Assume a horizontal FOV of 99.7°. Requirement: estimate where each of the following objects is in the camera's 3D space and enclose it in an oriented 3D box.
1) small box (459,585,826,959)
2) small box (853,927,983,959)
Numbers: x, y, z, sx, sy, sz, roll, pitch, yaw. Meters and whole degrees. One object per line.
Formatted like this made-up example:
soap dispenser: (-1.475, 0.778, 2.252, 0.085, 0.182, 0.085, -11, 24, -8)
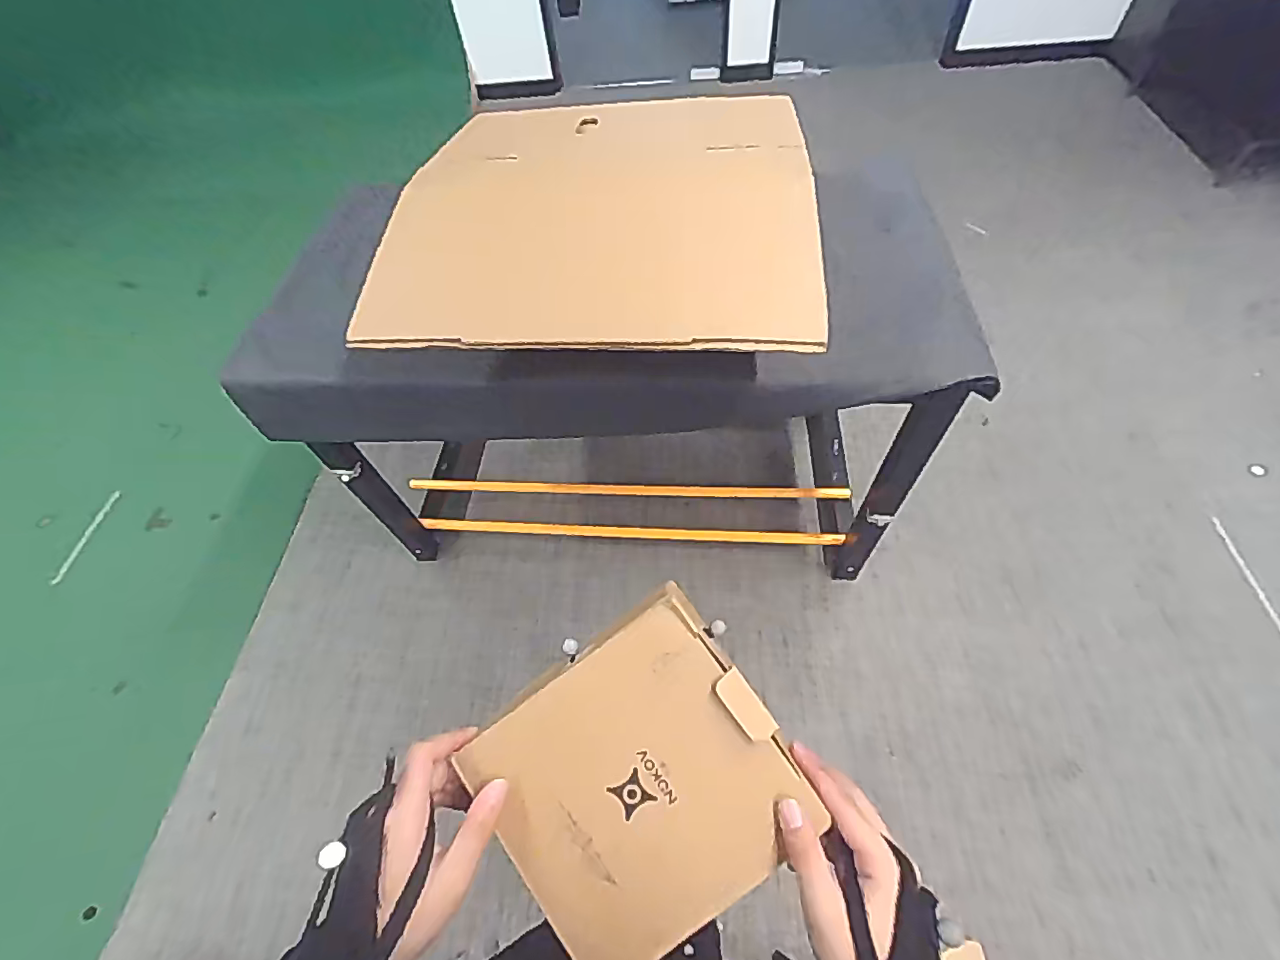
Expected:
small box: (0.003, 0.195, 0.414, 0.179, 0.176, 0.168, -37, 80, -1)
small box: (0.469, 0.857, 0.893, 0.168, 0.176, 0.179, -4, 55, 3)
